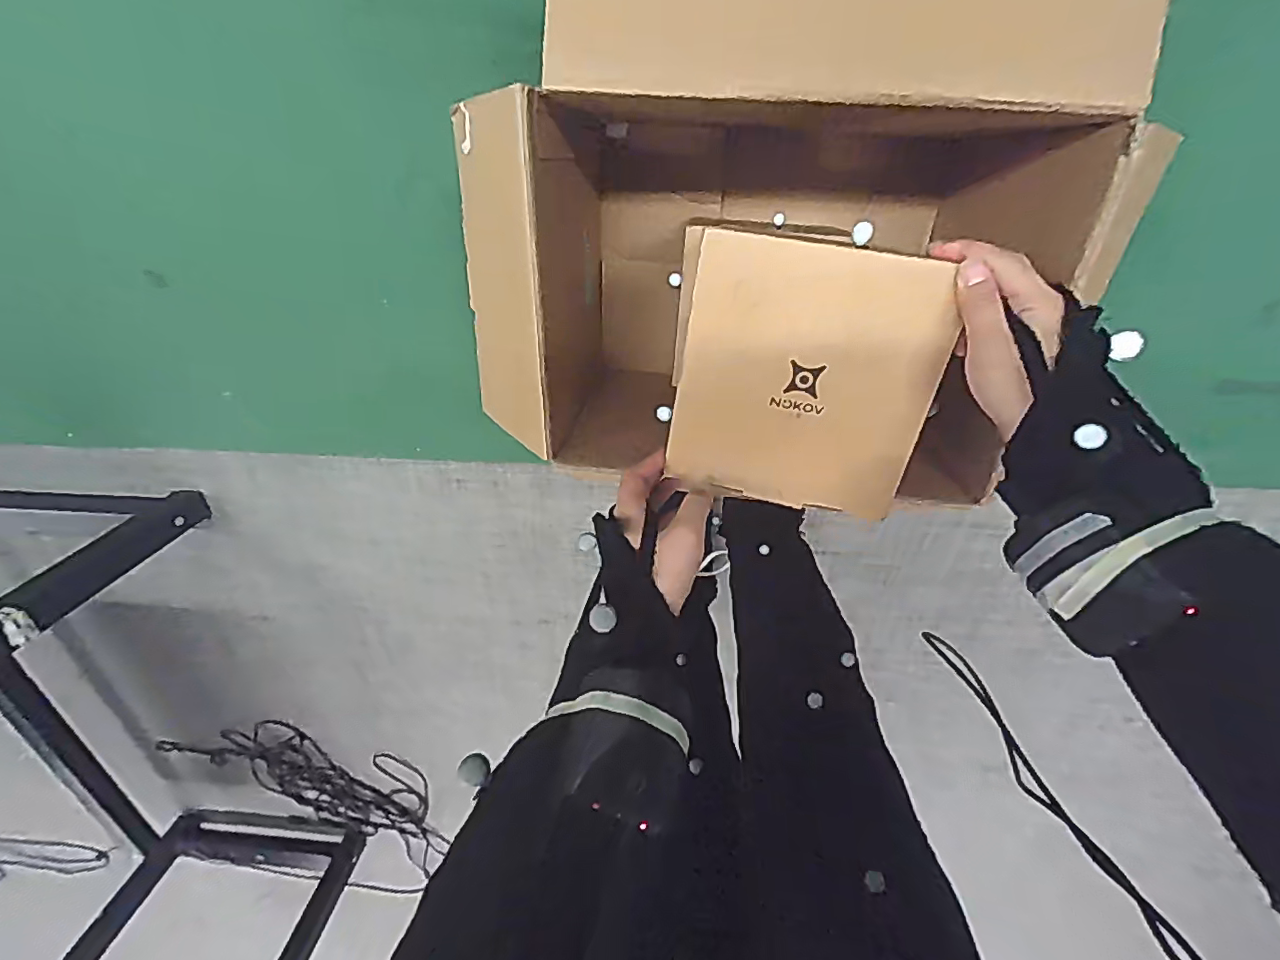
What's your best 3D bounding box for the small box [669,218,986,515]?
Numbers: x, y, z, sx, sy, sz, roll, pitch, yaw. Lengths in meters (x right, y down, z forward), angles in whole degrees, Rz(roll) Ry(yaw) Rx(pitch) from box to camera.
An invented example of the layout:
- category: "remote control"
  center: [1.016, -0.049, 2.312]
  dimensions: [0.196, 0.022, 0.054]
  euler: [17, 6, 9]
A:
- category: "small box"
  center: [0.125, -0.101, 0.428]
  dimensions: [0.168, 0.176, 0.179]
  euler: [11, 118, 6]
